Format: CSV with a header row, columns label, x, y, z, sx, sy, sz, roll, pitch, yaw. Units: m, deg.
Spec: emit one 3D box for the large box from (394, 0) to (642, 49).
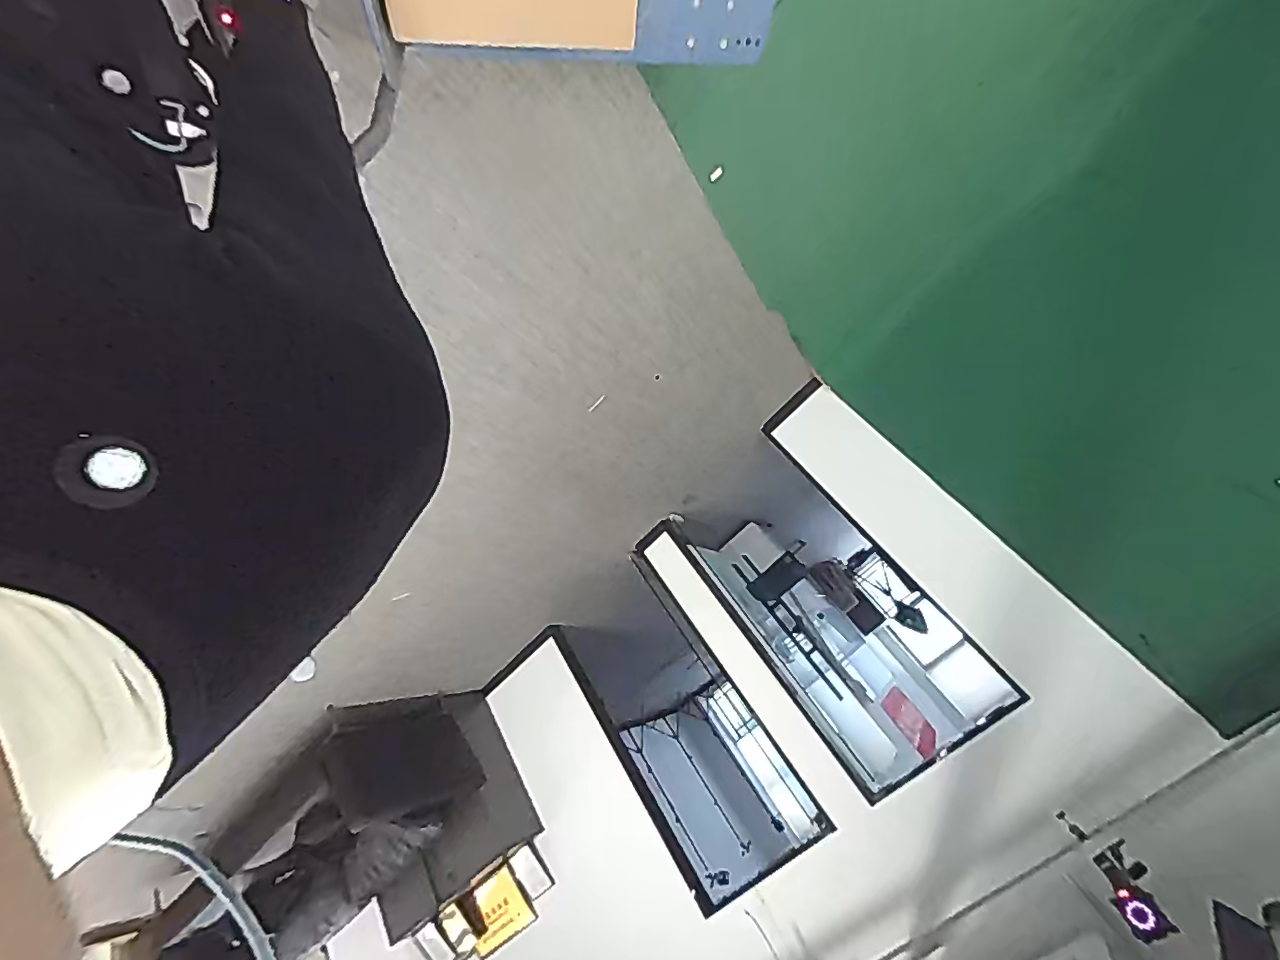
label,x,y,z,sx,sy,sz,roll,pitch,yaw
large box,-0.221,-0.943,0.883,0.408,0.320,0.320,-9,144,-14
